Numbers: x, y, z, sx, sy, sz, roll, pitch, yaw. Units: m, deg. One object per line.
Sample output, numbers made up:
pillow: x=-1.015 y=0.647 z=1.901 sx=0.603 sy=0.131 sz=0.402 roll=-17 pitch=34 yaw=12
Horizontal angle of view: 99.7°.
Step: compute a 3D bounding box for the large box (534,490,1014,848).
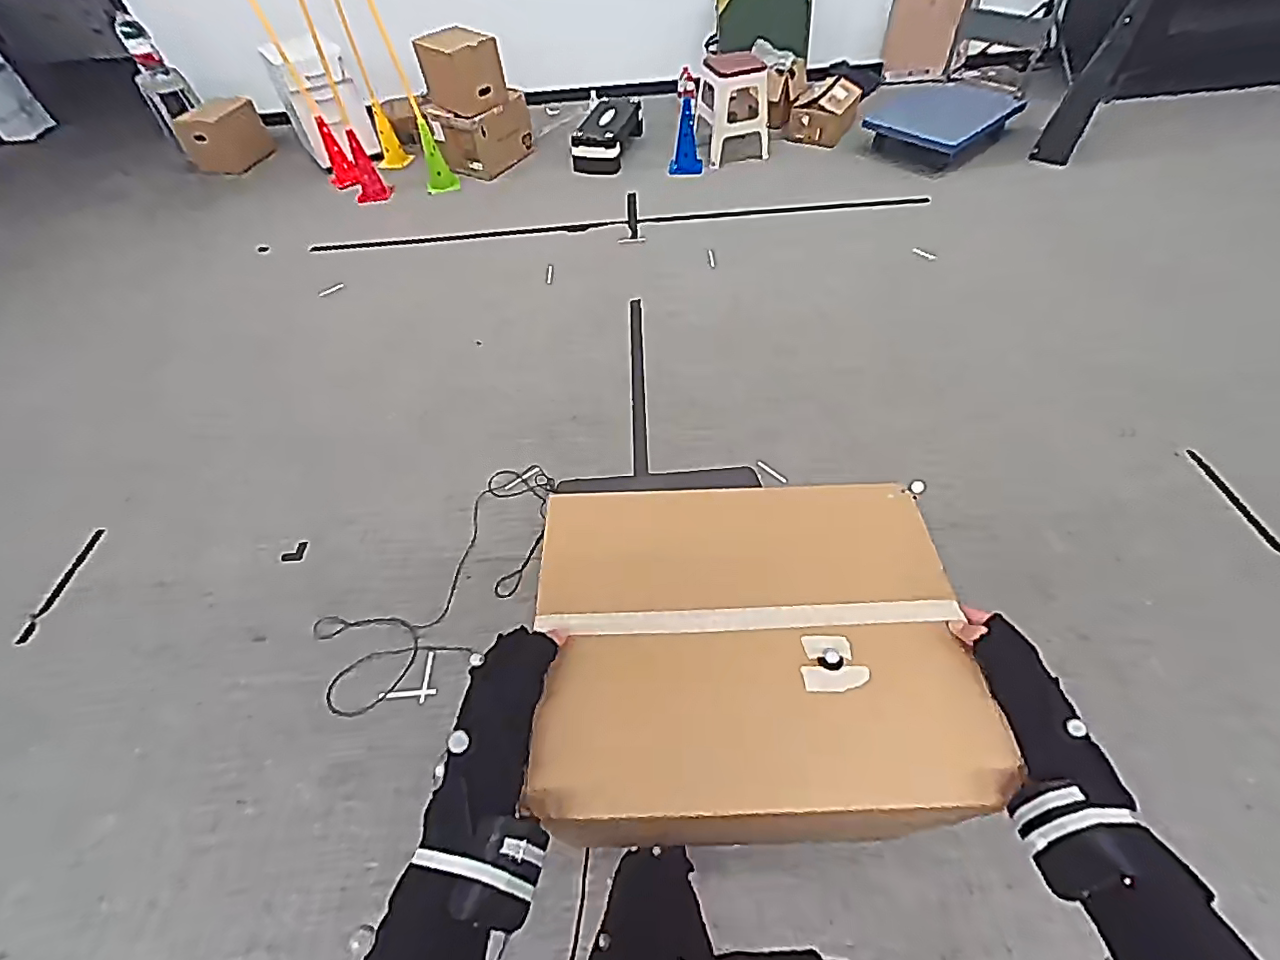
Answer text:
large box: x=0.107 y=0.232 z=0.647 sx=0.408 sy=0.320 sz=0.320 roll=-2 pitch=52 yaw=0
